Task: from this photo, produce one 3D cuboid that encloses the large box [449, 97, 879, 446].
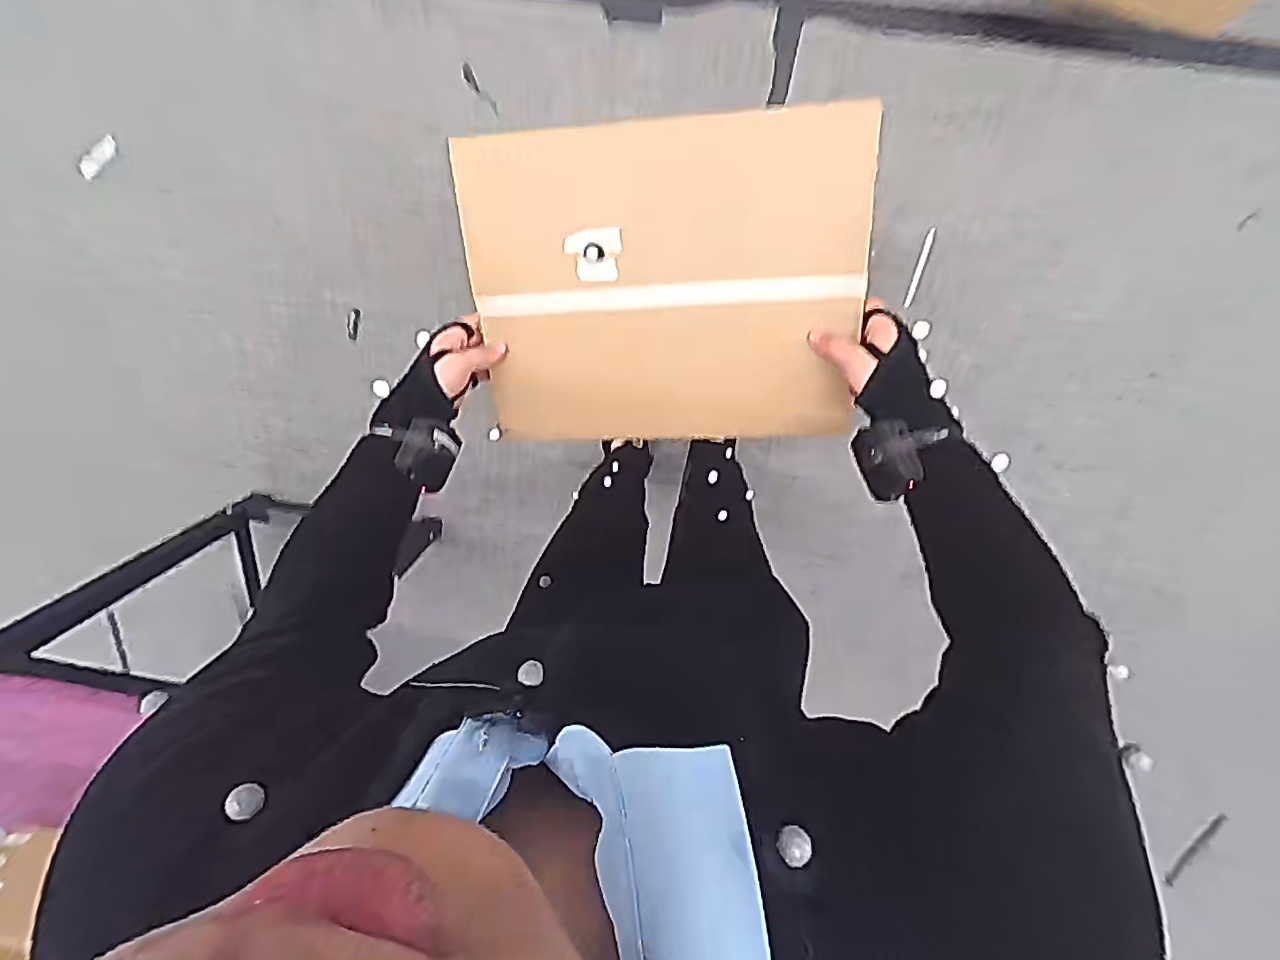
[{"bbox_3d":[0.042,-0.244,0.683,0.408,0.320,0.320,0,113,8],"label":"large box"}]
